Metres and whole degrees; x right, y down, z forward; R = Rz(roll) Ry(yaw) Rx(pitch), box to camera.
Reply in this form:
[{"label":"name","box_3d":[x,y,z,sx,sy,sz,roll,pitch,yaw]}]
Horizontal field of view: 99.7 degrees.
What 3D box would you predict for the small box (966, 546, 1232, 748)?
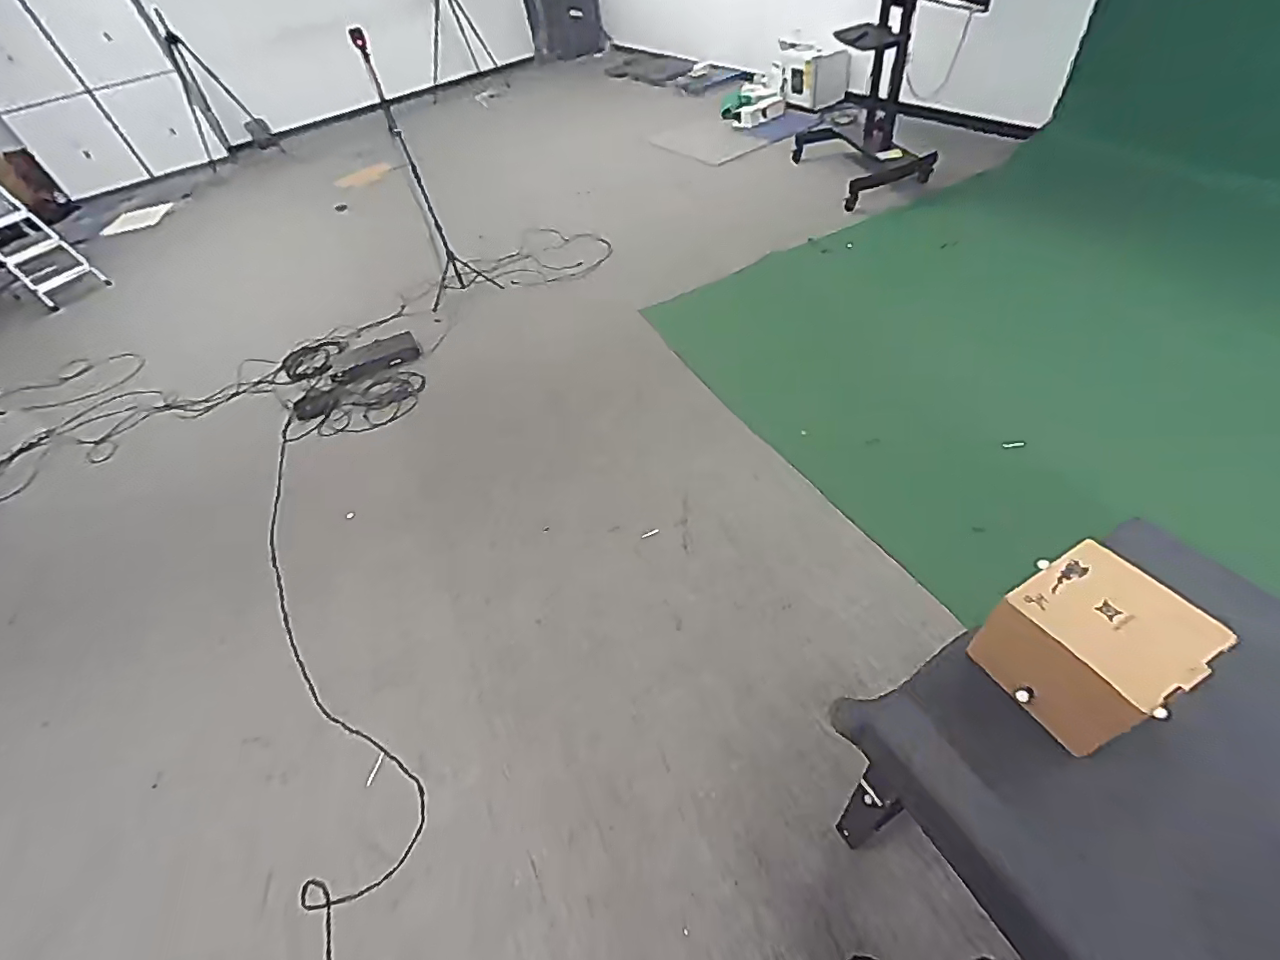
[{"label":"small box","box_3d":[0.582,0.227,0.715,0.168,0.176,0.179,-26,50,-15]}]
